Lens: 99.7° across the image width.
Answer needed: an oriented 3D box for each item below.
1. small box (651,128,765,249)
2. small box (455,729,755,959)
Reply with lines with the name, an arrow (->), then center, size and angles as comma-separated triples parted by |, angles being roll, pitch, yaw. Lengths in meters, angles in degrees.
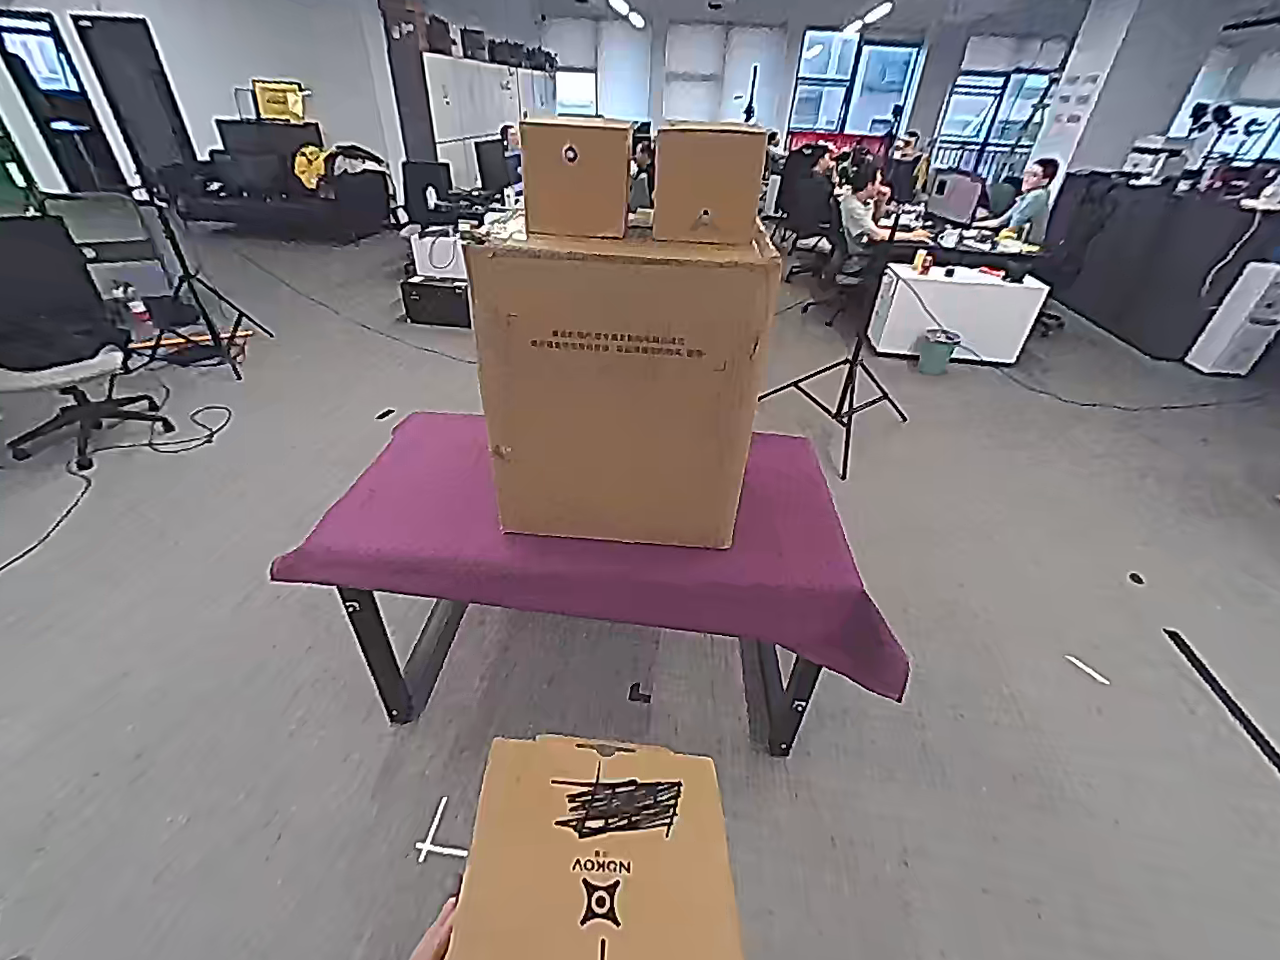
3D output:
small box -> 0.116, -0.520, 0.966 | 0.179, 0.176, 0.168 | 4, 35, 3
small box -> -0.034, 0.304, 0.366 | 0.168, 0.176, 0.179 | 8, 30, -8
